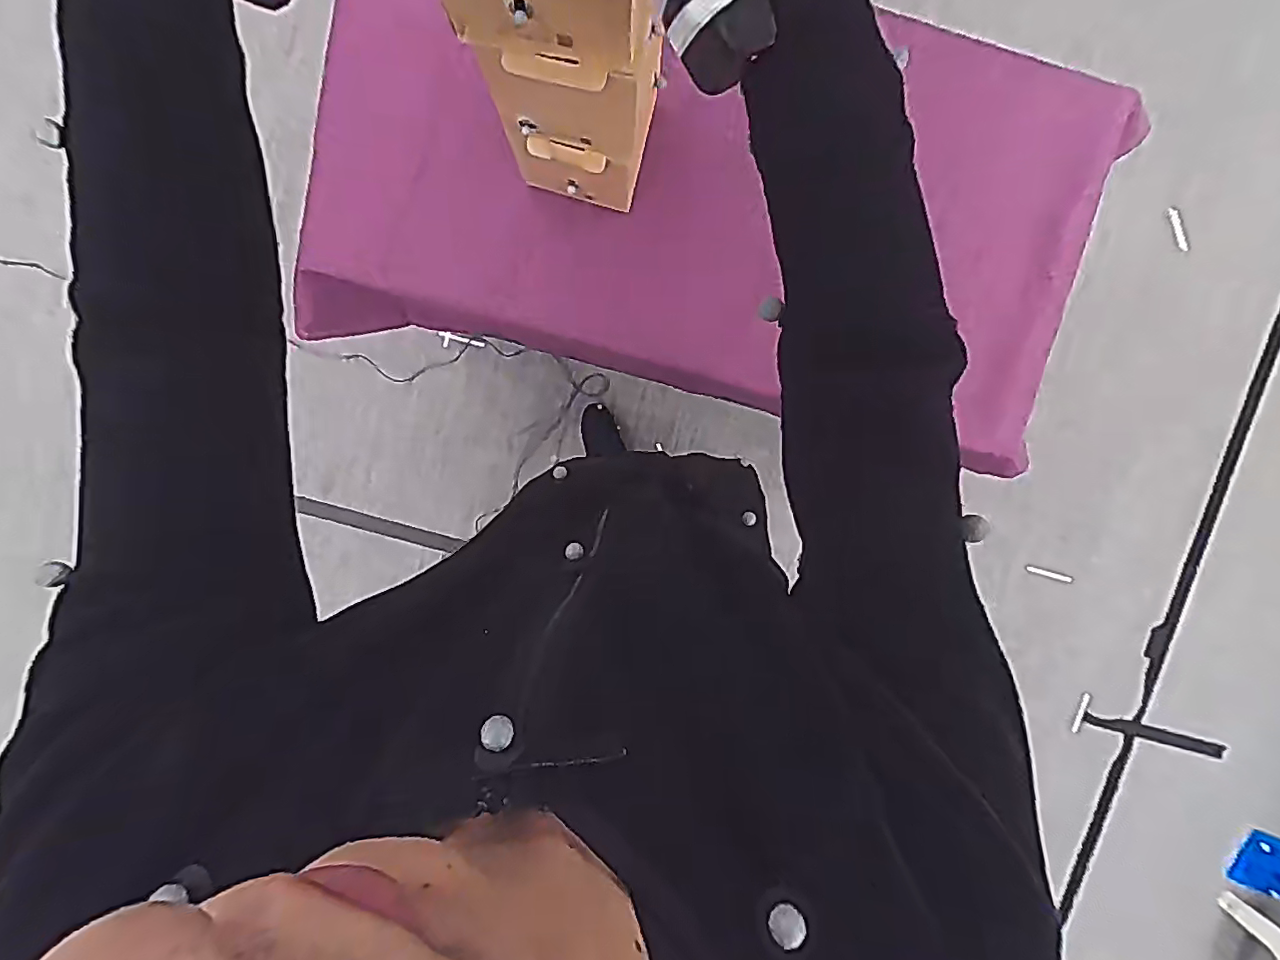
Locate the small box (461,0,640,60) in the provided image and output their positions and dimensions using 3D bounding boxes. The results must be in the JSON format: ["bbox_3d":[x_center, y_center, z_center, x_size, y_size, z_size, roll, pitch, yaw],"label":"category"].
[{"bbox_3d":[-0.072,-0.485,0.423,0.168,0.176,0.179,6,97,-3],"label":"small box"}]

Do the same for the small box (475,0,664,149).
[{"bbox_3d":[-0.065,-0.498,0.586,0.168,0.176,0.179,10,96,-4],"label":"small box"}]

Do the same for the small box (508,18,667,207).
[{"bbox_3d":[-0.069,-0.516,0.749,0.168,0.176,0.179,15,96,-3],"label":"small box"}]
